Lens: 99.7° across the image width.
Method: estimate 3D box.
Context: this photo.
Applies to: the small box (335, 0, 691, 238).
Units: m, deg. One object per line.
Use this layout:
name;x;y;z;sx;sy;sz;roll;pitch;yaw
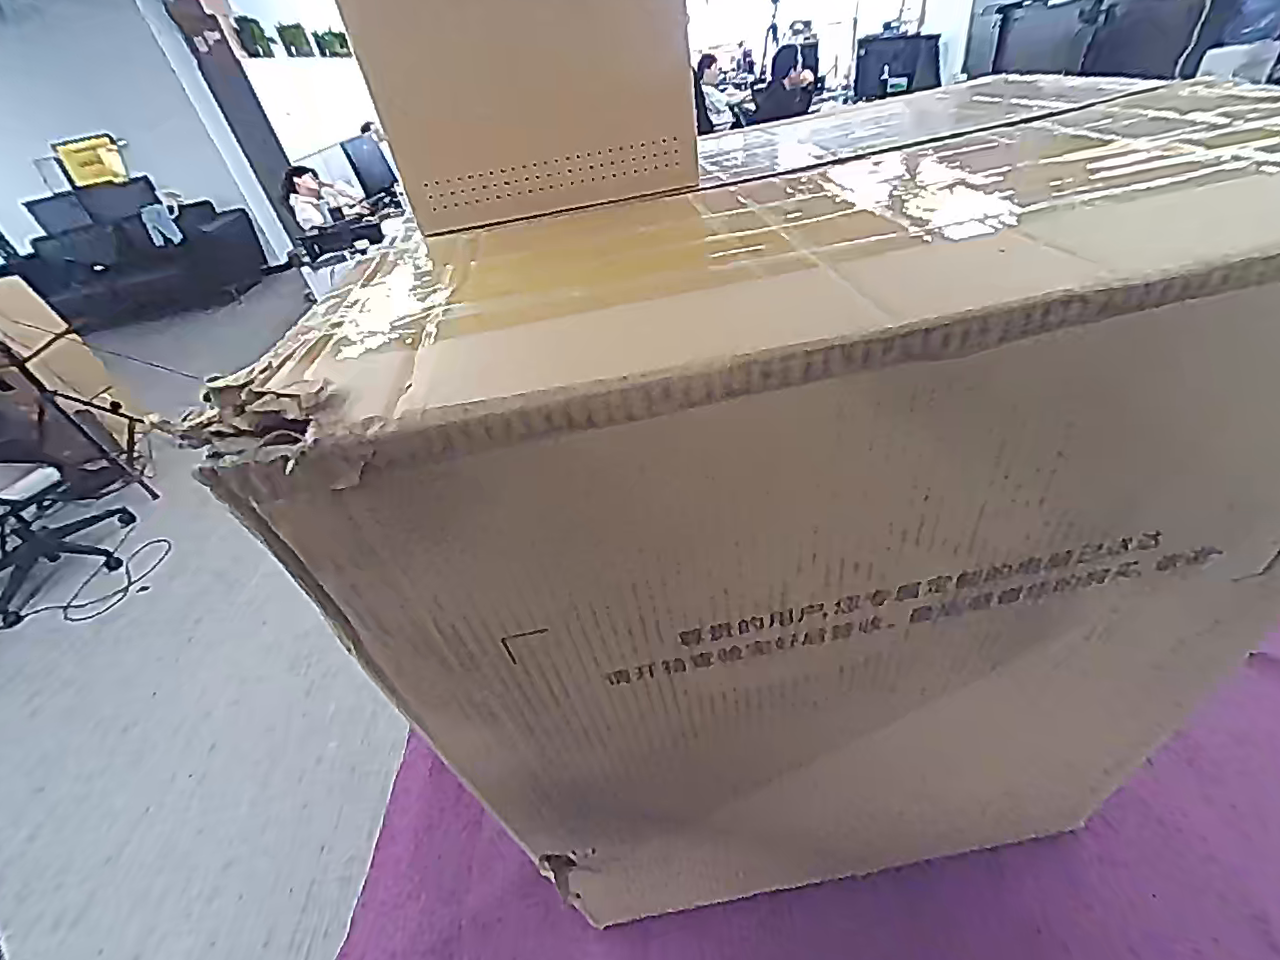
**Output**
small box;-0.067;-0.271;0.339;0.179;0.176;0.168;-11;38;-1
